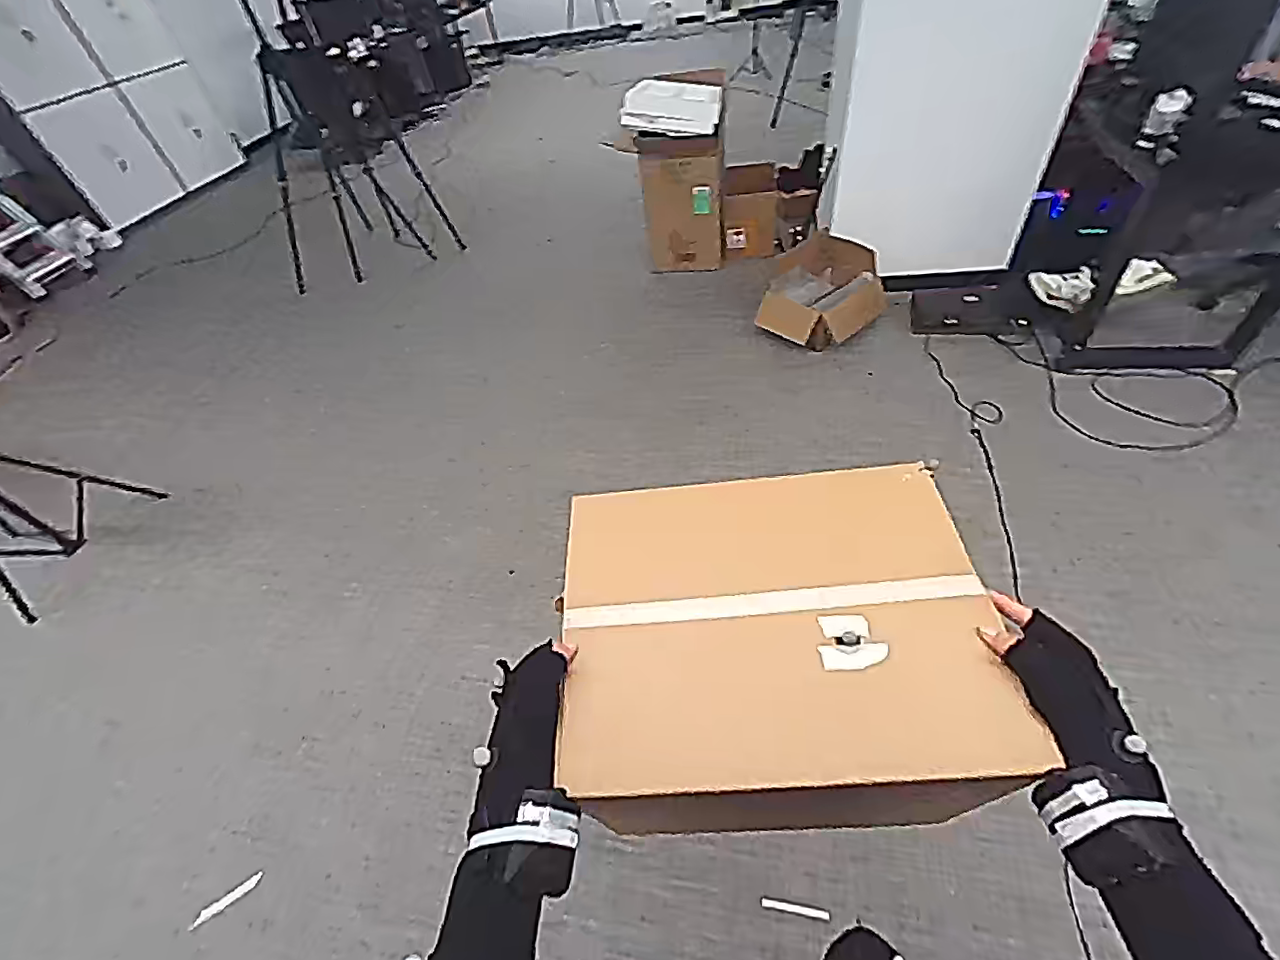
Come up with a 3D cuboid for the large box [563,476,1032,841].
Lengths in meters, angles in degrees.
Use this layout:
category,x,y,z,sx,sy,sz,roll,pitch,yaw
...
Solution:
category,x,y,z,sx,sy,sz,roll,pitch,yaw
large box,0.137,0.229,0.661,0.408,0.320,0.320,-6,52,4
